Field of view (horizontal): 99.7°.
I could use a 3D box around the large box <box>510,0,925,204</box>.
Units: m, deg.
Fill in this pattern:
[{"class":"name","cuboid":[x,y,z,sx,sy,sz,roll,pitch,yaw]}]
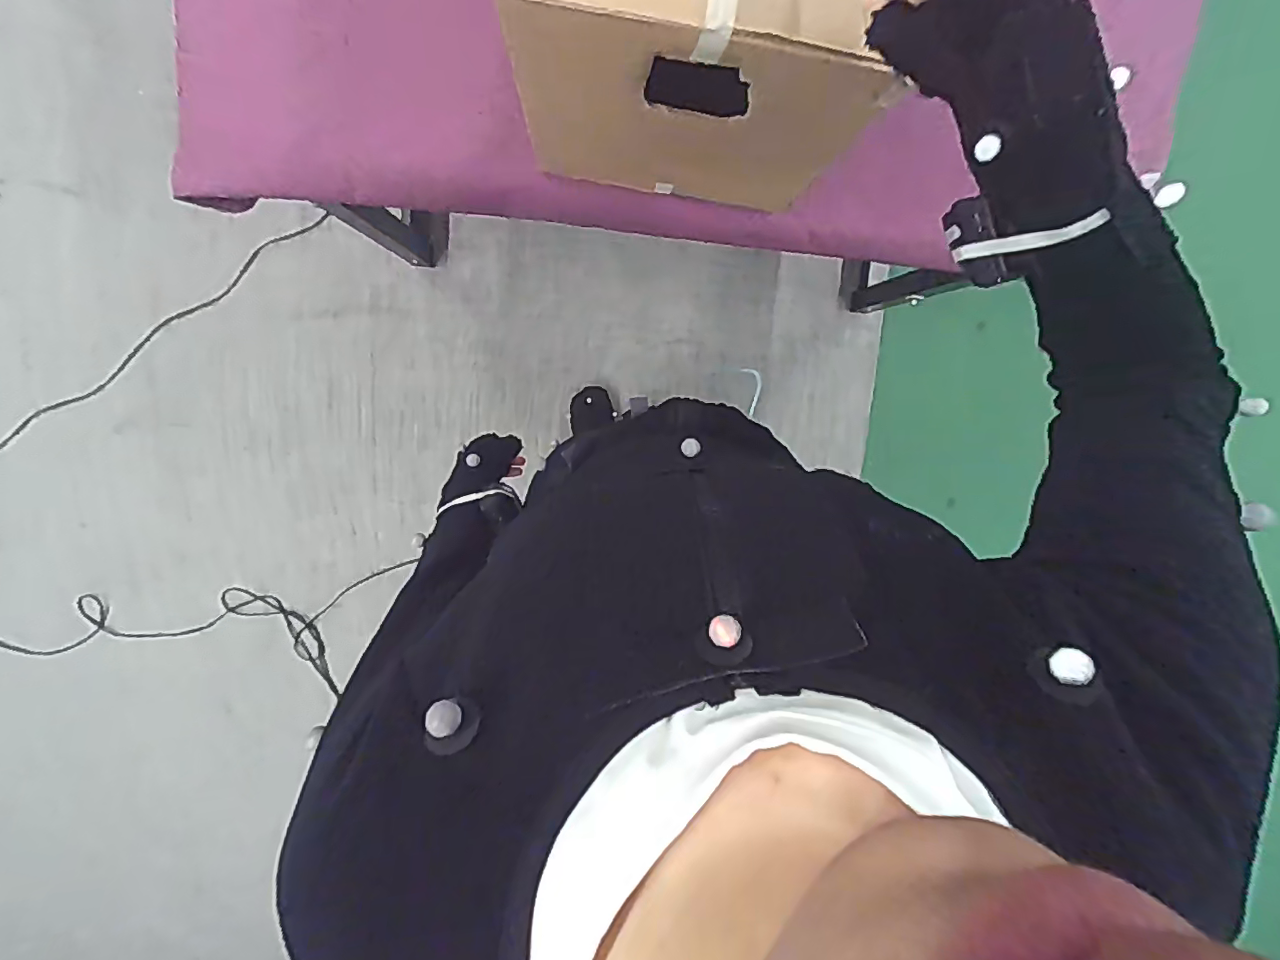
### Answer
[{"class":"large box","cuboid":[0.065,-0.540,0.510,0.320,0.320,0.408,6,100,-5]}]
